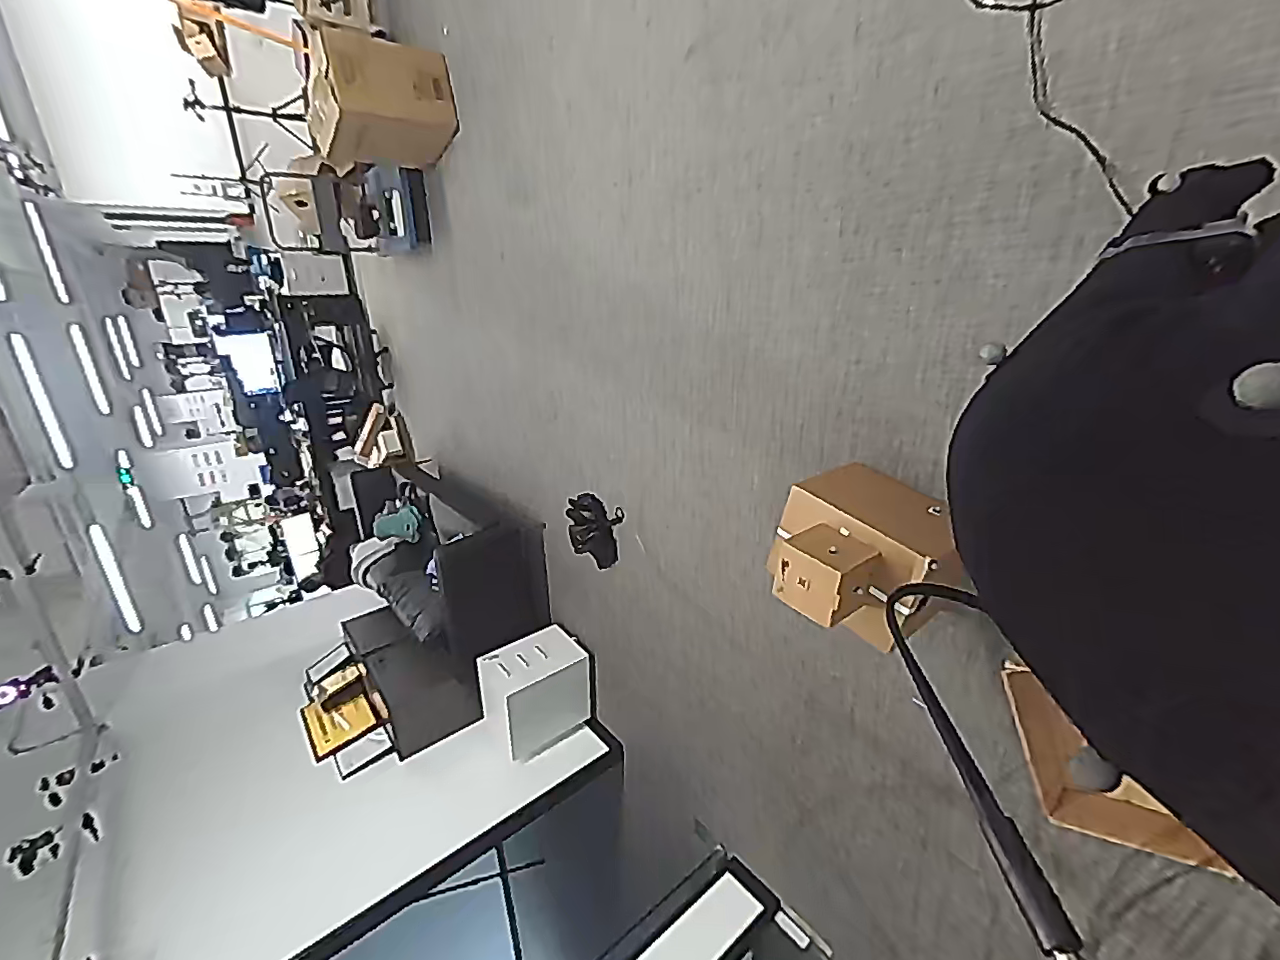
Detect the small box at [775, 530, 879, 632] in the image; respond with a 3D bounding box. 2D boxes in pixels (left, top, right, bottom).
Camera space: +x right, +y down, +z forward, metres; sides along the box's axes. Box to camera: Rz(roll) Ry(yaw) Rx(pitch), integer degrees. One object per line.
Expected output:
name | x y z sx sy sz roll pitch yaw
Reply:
small box | 0.474 0.245 1.369 0.179 0.176 0.168 29 125 44
